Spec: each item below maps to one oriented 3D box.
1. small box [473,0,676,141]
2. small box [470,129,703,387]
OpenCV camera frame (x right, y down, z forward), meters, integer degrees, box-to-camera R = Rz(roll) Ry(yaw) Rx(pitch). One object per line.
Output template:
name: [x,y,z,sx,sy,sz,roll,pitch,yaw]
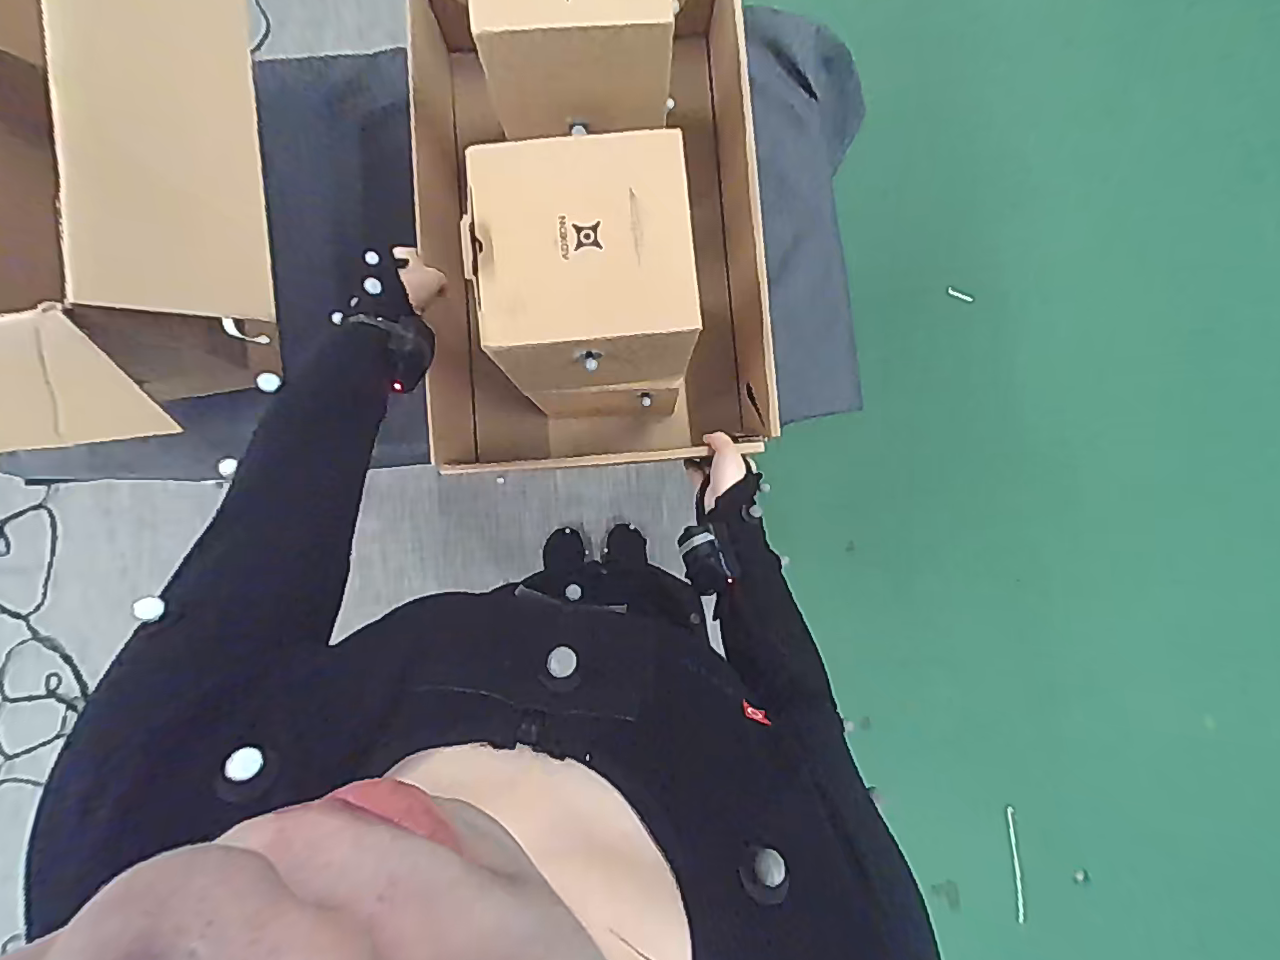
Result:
small box: [-0.058,-0.446,0.516,0.168,0.176,0.179,-3,90,-1]
small box: [-0.044,-0.189,0.509,0.179,0.176,0.168,-6,88,-2]
